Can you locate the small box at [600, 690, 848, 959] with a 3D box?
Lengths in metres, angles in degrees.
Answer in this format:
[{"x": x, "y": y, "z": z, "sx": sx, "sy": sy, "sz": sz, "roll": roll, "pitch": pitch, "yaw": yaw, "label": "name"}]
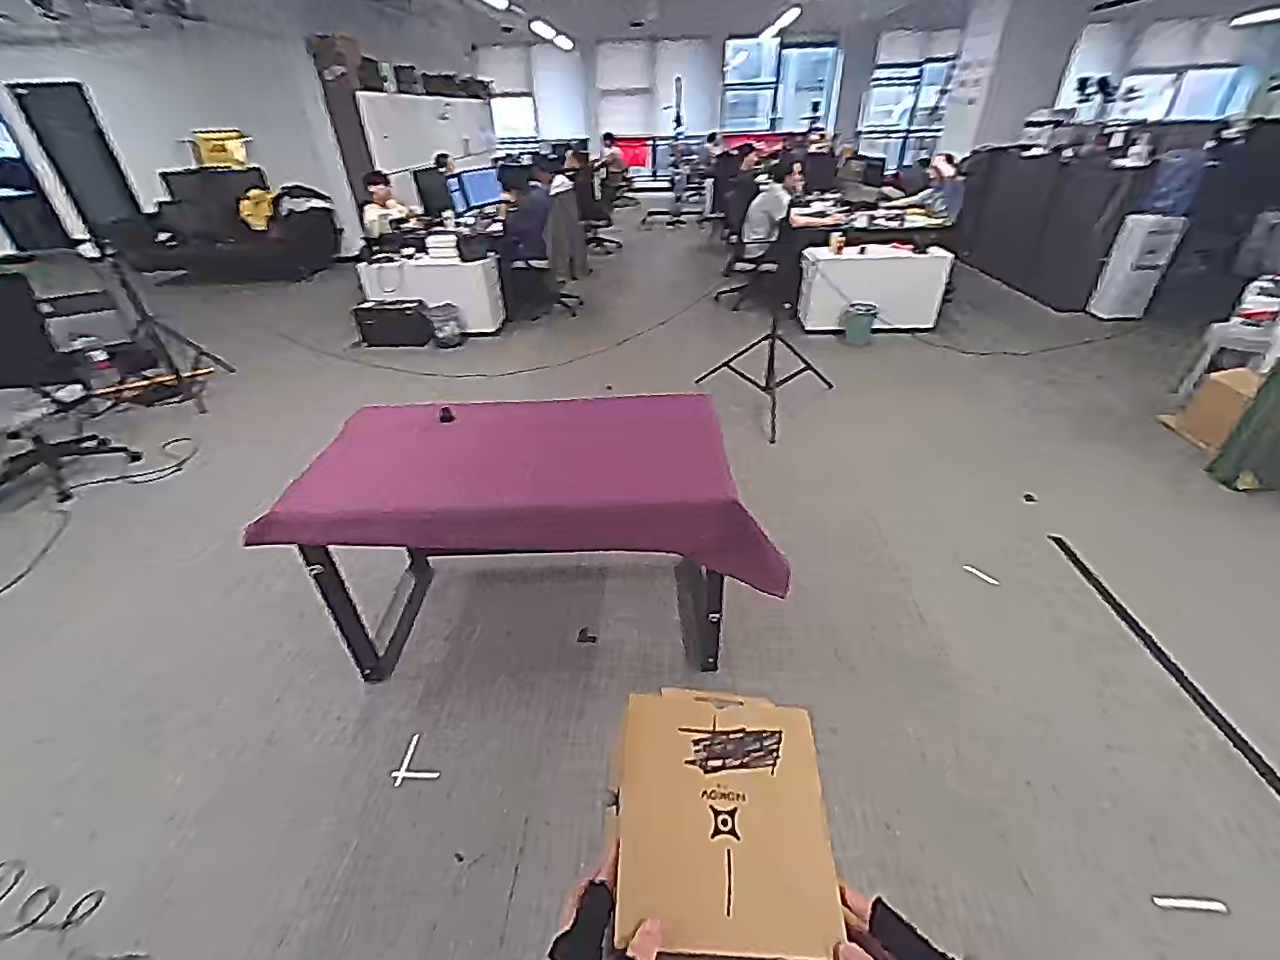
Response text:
[{"x": 0.056, "y": 0.314, "z": 0.482, "sx": 0.168, "sy": 0.176, "sz": 0.179, "roll": 6, "pitch": 44, "yaw": -4, "label": "small box"}]
